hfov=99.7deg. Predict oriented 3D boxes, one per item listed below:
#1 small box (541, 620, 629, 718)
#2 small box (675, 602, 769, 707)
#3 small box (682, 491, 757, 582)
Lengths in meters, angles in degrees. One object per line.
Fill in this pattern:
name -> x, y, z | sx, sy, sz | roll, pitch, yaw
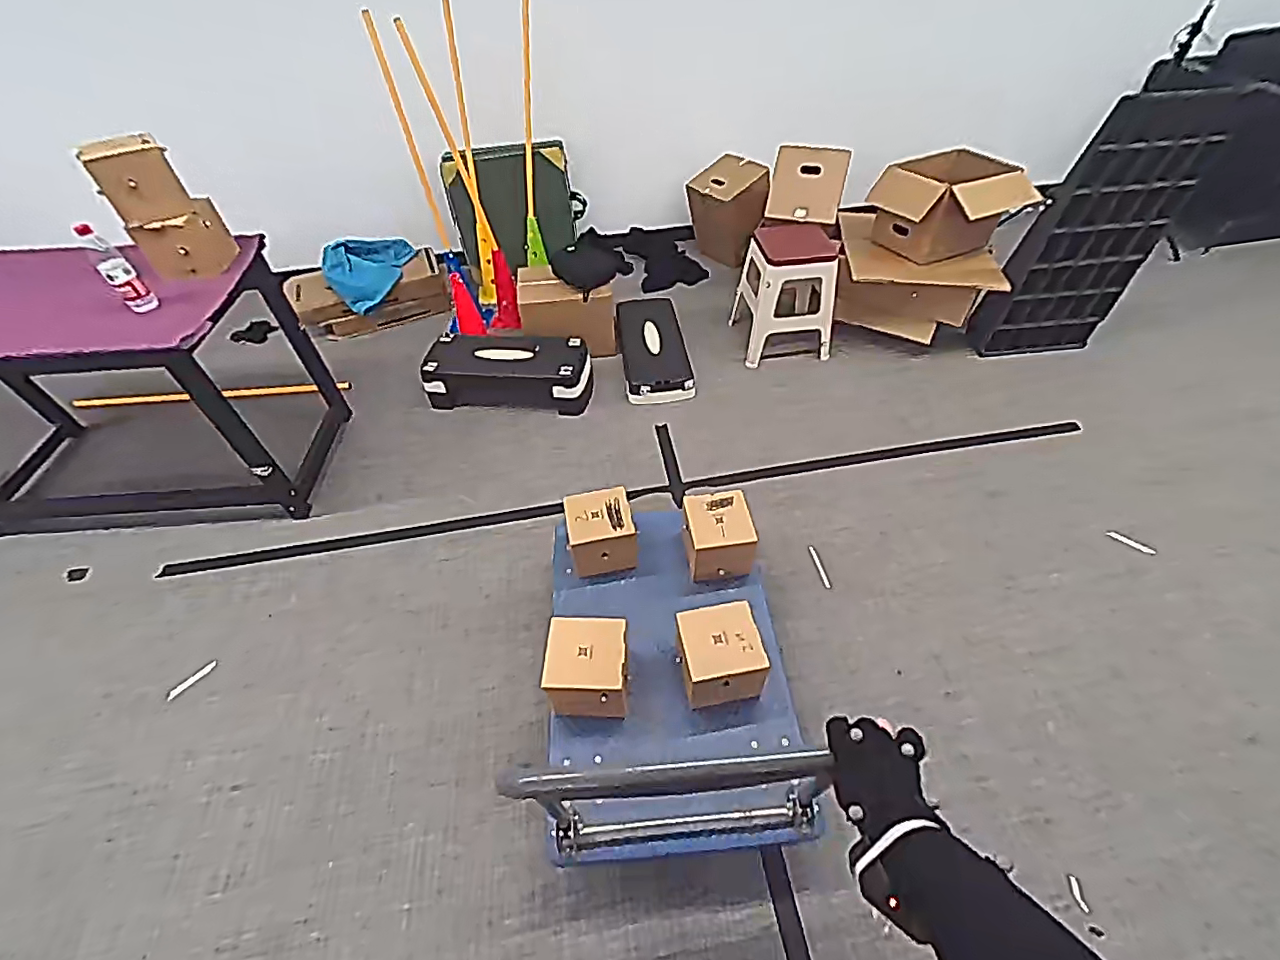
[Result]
small box -> -0.120, 0.438, 1.249 | 0.179, 0.176, 0.168 | 0, 48, 1
small box -> 0.183, 0.410, 1.258 | 0.179, 0.176, 0.168 | -9, 49, -5
small box -> 0.209, 0.155, 1.481 | 0.168, 0.176, 0.179 | -7, 50, -3
